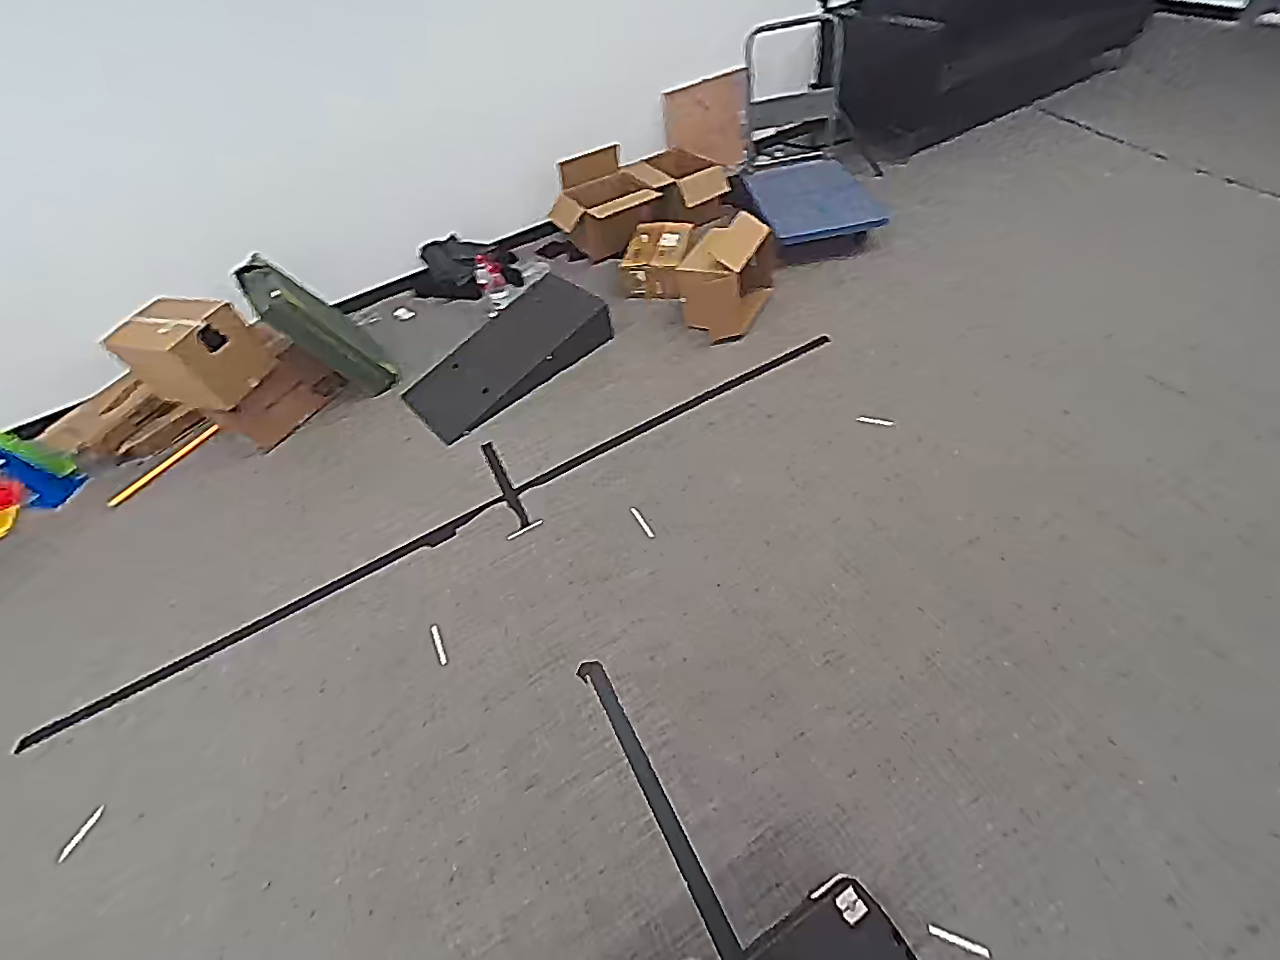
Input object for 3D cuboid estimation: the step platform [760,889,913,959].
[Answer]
[{"bbox_3d":[0.250,1.124,1.029,0.684,0.204,0.286,-28,52,-14],"label":"step platform"}]
